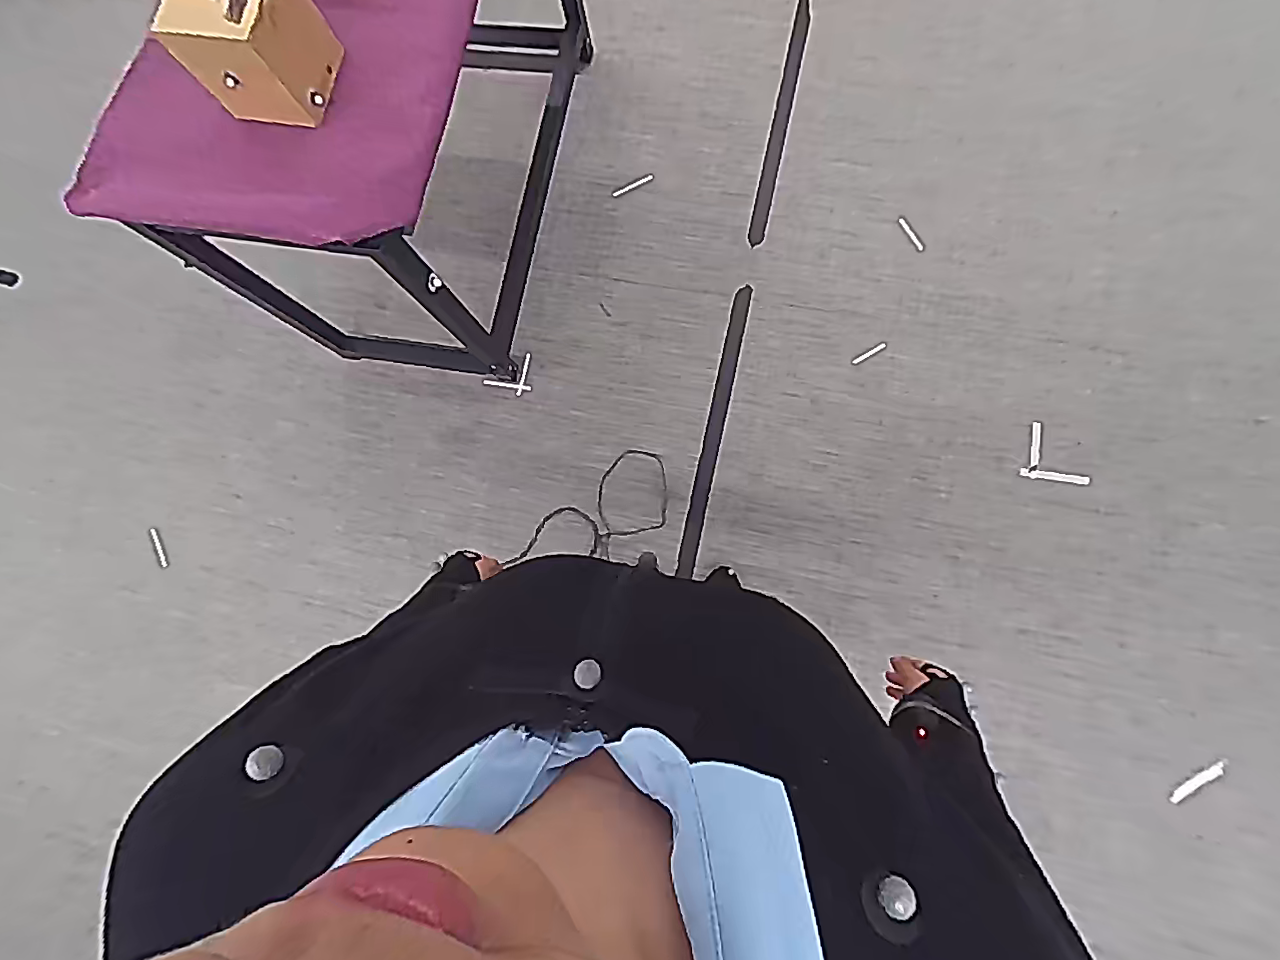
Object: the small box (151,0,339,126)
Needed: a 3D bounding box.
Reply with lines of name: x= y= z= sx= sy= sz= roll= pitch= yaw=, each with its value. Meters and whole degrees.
small box: x=-0.657 y=-0.745 z=0.924 sx=0.179 sy=0.176 sz=0.168 roll=11 pitch=81 yaw=7
